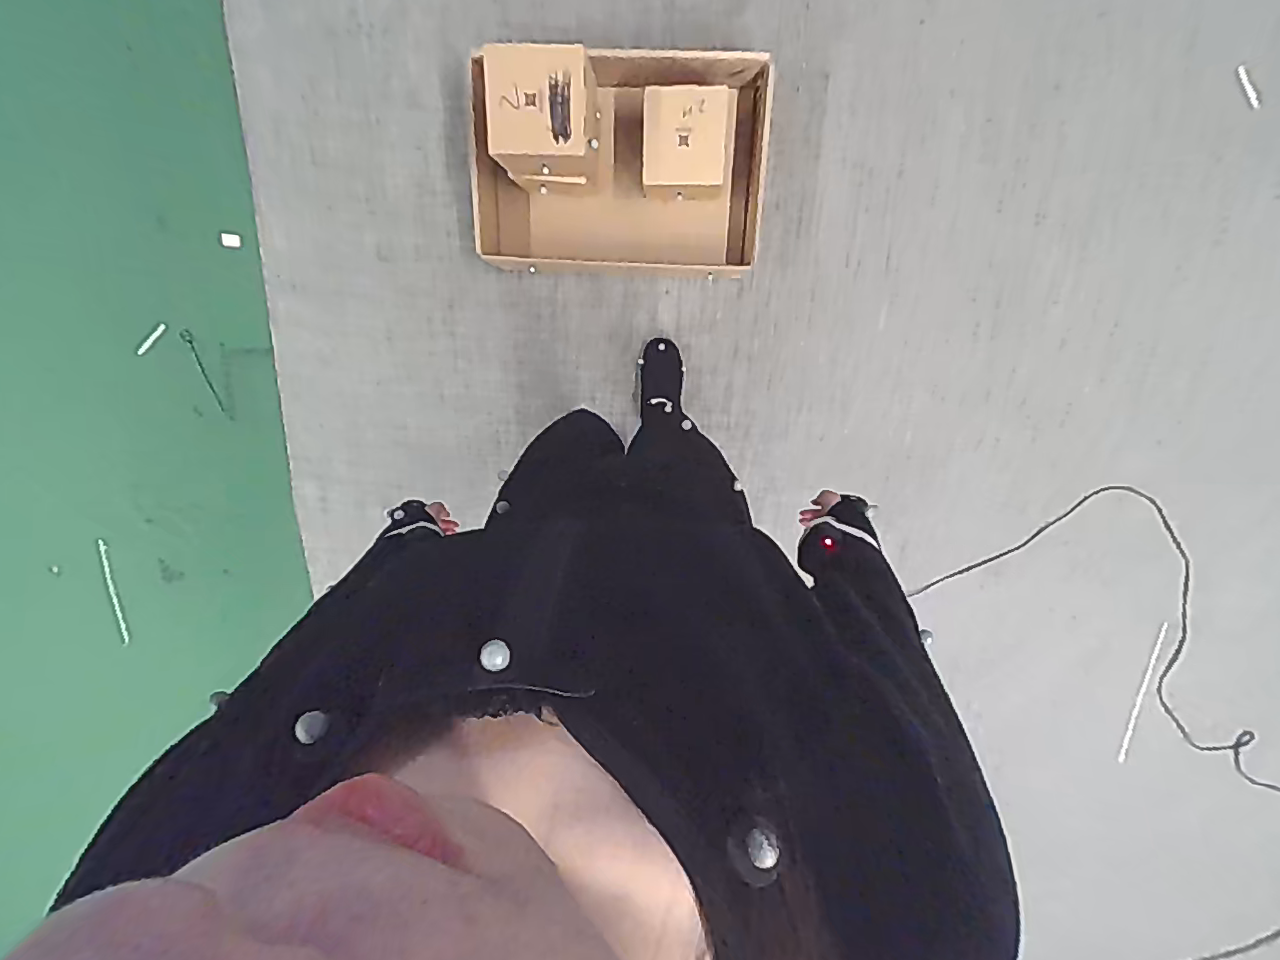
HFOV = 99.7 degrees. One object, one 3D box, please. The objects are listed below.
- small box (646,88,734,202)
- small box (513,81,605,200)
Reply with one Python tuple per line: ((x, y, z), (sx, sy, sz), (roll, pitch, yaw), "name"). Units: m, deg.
((0.104, -0.702, 1.153), (0.168, 0.176, 0.179), (3, 108, 3), "small box")
((-0.170, -0.721, 1.168), (0.168, 0.176, 0.179), (7, 107, 1), "small box")
